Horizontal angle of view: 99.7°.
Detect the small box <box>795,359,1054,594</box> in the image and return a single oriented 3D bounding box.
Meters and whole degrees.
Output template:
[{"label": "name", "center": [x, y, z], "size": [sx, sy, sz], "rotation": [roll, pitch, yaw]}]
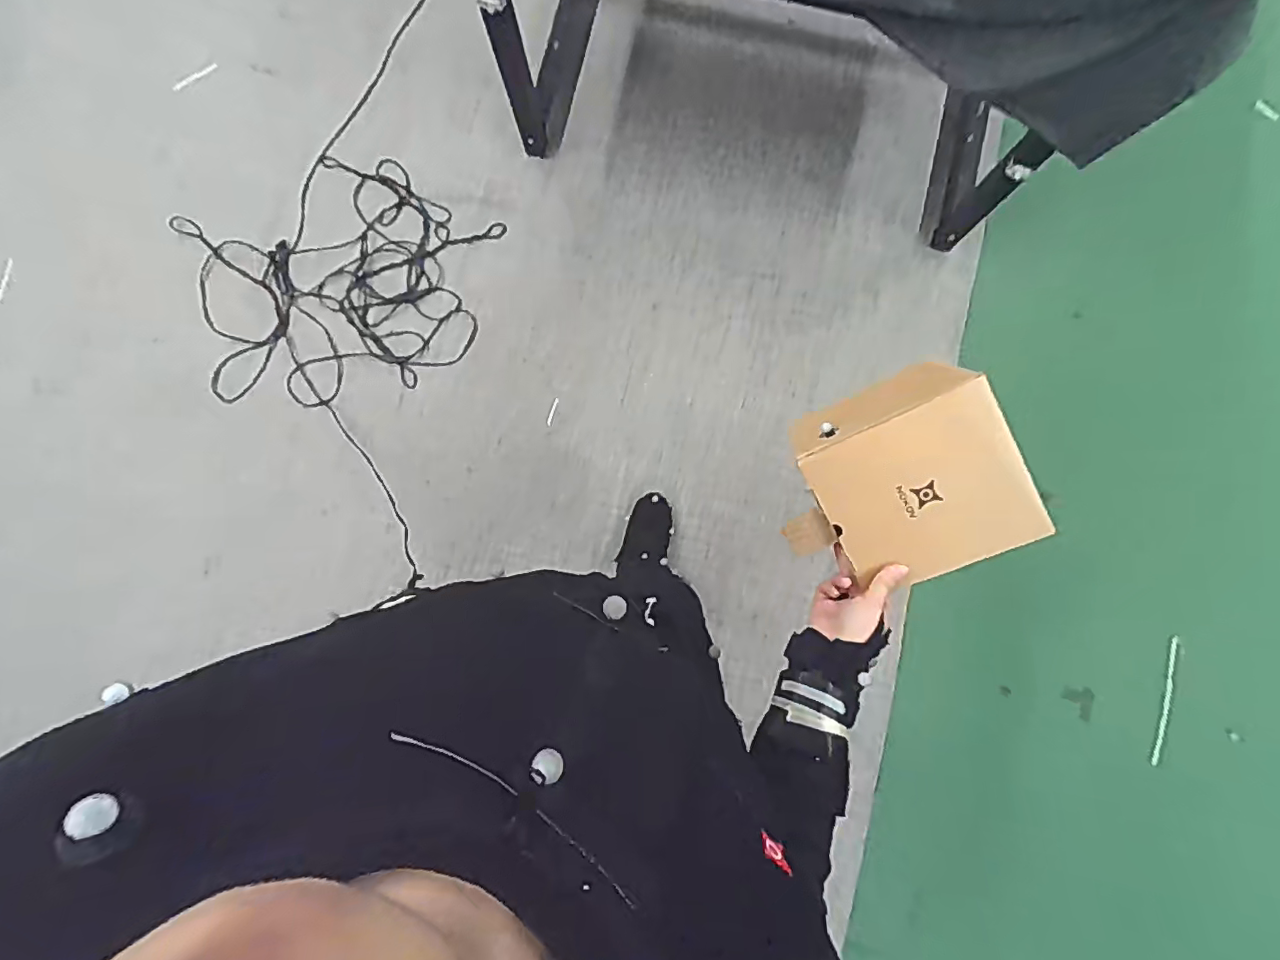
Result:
[{"label": "small box", "center": [0.282, -0.014, 0.578], "size": [0.179, 0.176, 0.168], "rotation": [-27, 100, 20]}]
